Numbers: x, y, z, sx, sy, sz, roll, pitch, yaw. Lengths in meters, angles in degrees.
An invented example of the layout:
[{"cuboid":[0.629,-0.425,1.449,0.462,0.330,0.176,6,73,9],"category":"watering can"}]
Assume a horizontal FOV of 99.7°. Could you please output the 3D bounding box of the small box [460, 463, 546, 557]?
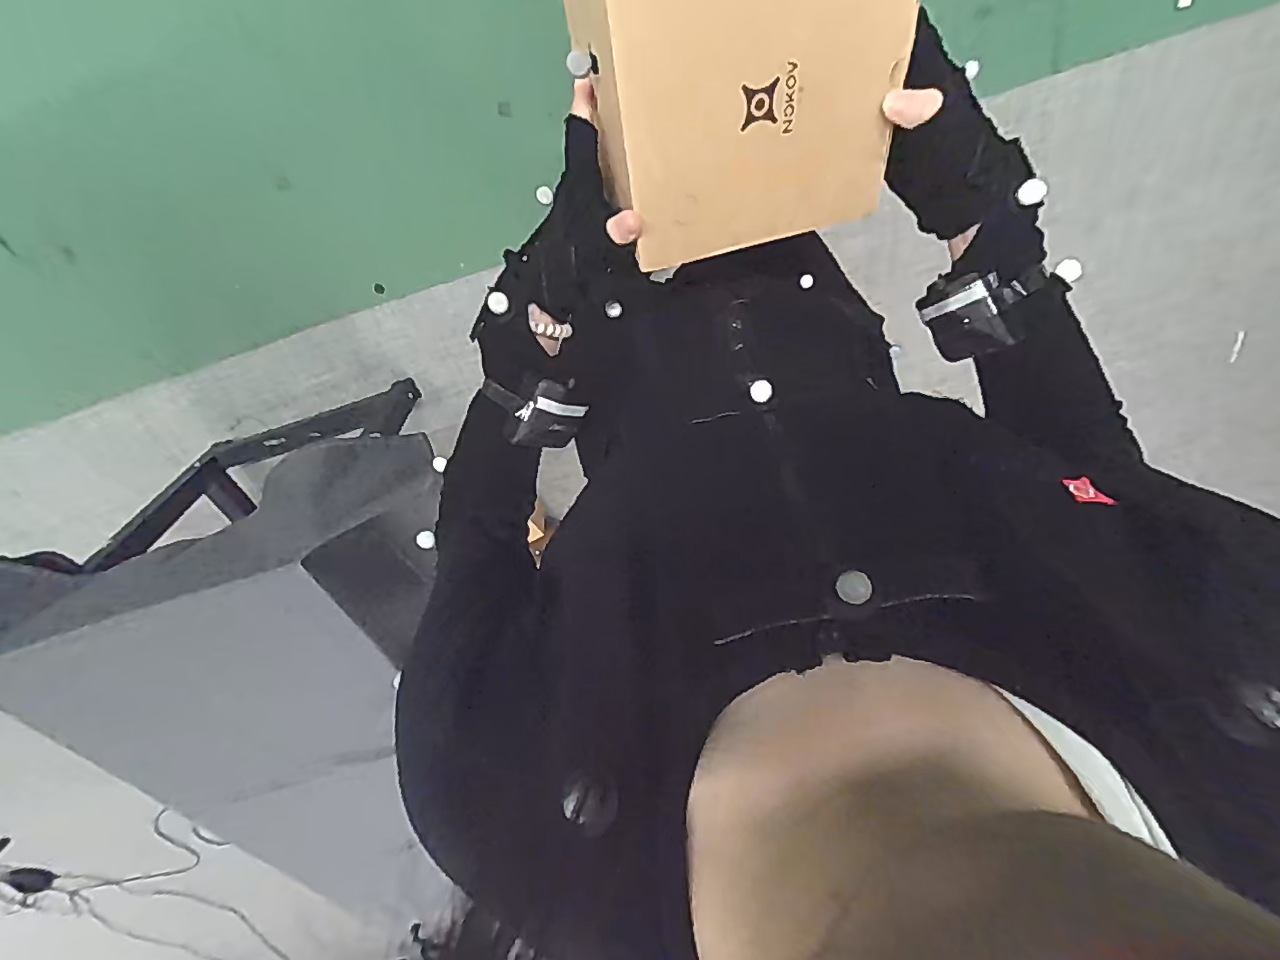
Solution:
[{"cuboid":[-0.388,0.084,1.562,0.179,0.176,0.168,-27,123,11],"category":"small box"}]
